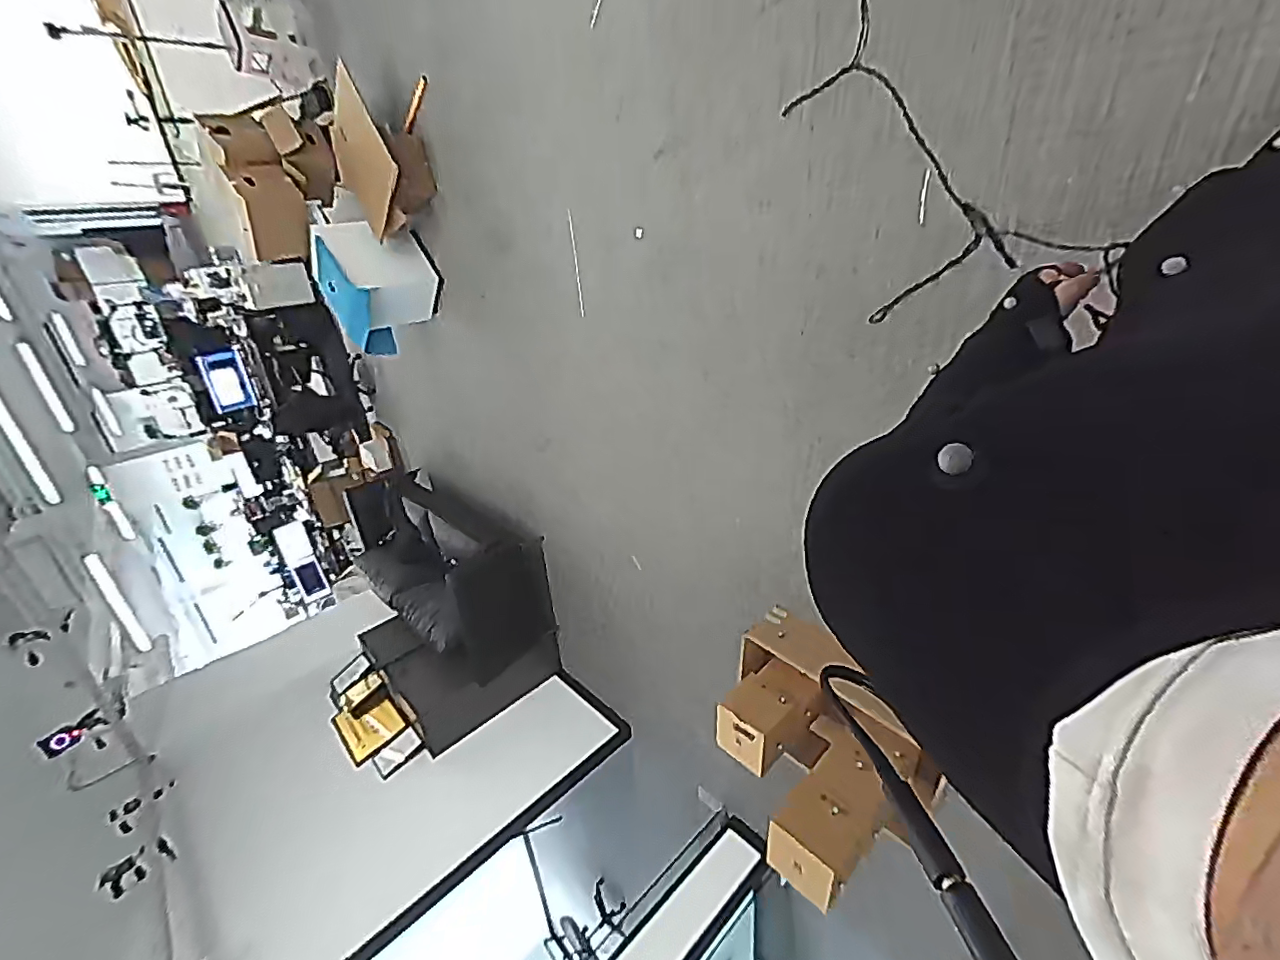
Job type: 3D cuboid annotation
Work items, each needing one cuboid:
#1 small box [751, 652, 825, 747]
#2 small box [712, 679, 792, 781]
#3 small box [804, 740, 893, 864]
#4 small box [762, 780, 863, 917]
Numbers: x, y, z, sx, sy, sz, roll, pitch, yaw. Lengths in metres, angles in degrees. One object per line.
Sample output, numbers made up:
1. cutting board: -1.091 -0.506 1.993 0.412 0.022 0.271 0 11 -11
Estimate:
1. small box: 0.455 0.678 1.688 0.168 0.176 0.179 28 129 39
2. small box: 0.330 0.724 1.590 0.168 0.176 0.179 23 126 42
3. small box: 0.533 0.825 1.400 0.168 0.176 0.179 23 126 41
4. small box: 0.415 0.878 1.301 0.168 0.176 0.179 23 126 40
